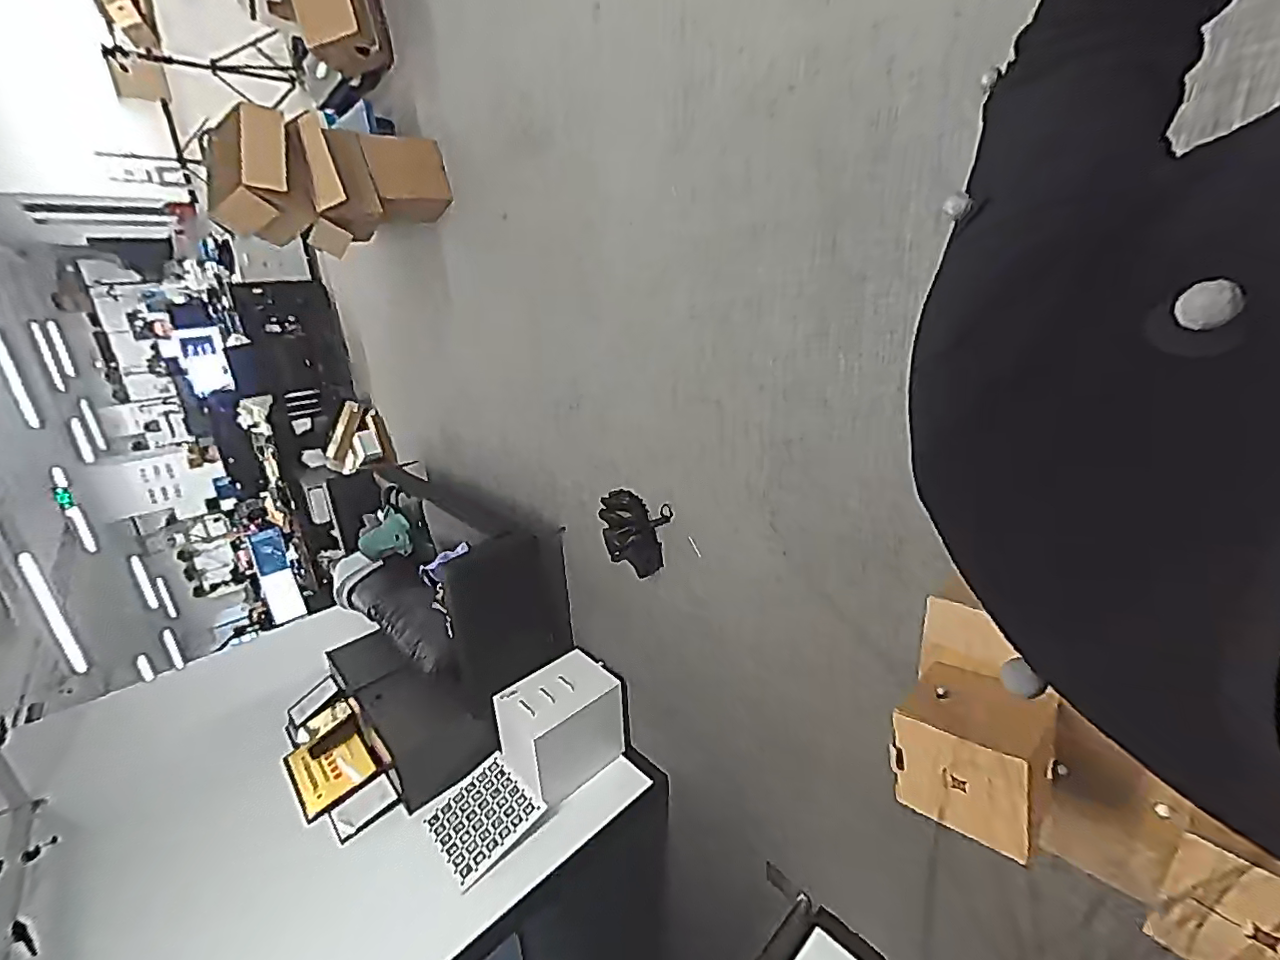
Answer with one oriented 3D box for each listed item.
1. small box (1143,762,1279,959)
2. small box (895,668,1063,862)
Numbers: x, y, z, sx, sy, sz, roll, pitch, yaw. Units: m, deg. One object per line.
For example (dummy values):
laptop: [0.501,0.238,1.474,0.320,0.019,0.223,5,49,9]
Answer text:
small box: [0.711,0.461,0.602,0.179,0.176,0.168,20,117,45]
small box: [0.513,0.412,0.822,0.179,0.176,0.168,5,107,48]
